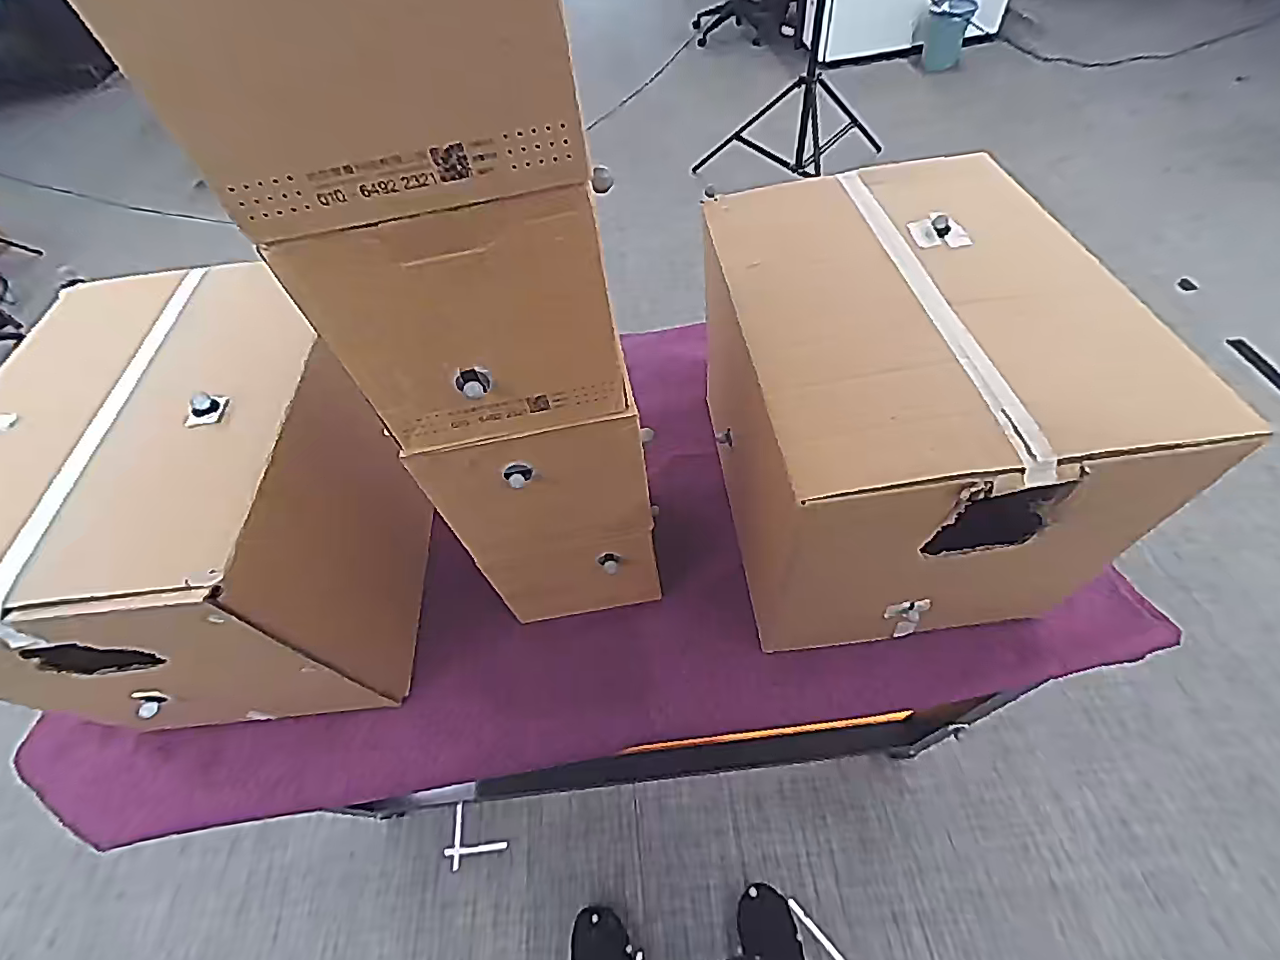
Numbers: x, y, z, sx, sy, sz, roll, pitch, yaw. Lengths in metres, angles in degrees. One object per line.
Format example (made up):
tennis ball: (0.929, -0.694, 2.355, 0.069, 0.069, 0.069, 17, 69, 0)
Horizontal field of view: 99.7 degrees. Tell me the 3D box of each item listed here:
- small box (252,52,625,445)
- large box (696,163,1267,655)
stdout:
small box: (-0.109, -0.151, 0.368, 0.168, 0.176, 0.179, -12, 55, -2)
large box: (0.252, -0.073, 0.586, 0.320, 0.320, 0.408, -8, 53, 1)
